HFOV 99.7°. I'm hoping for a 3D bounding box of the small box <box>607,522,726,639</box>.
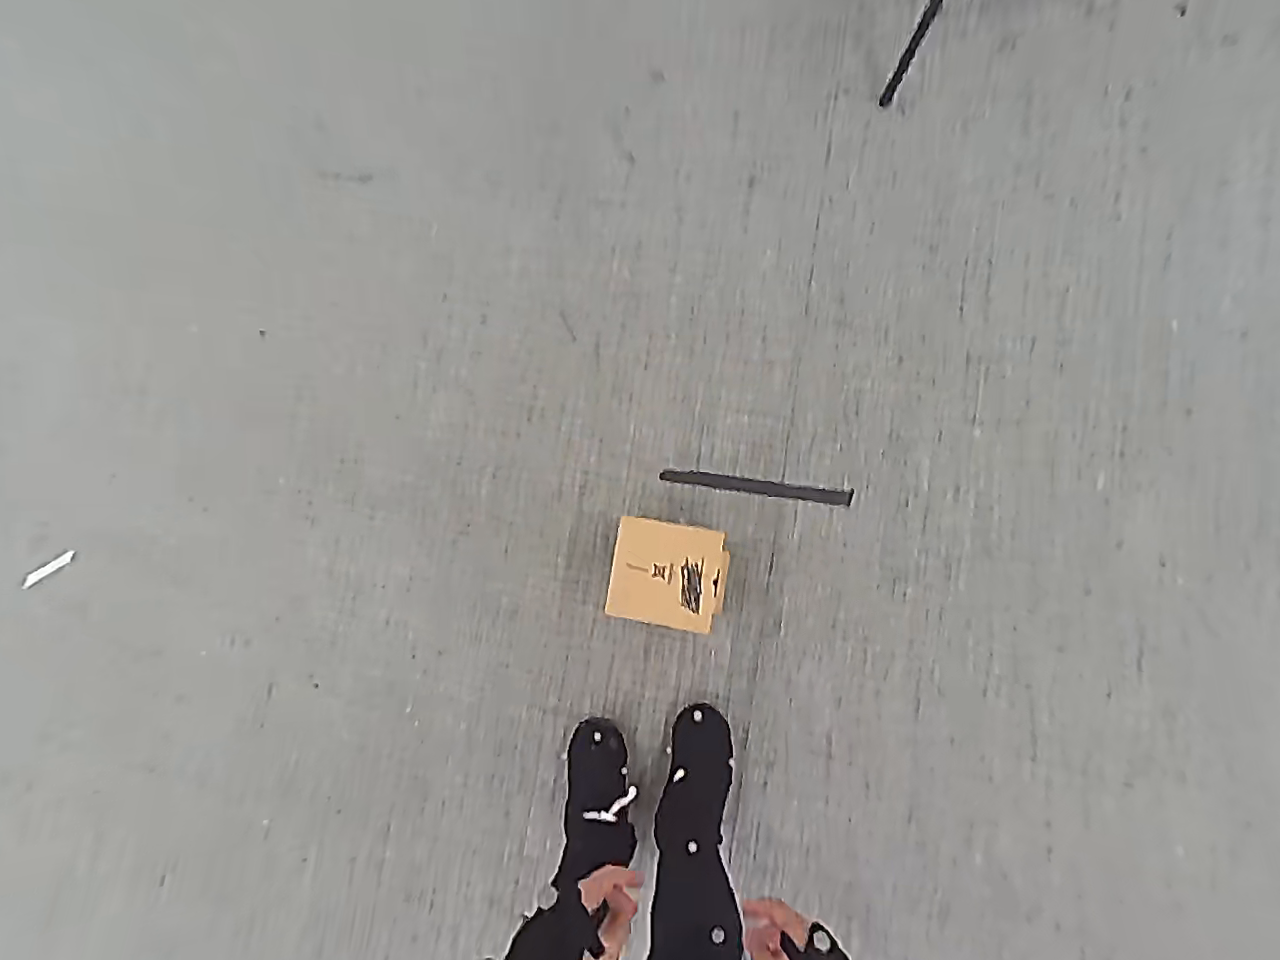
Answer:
[{"bbox_3d":[0.053,0.172,0.963,0.179,0.176,0.168,9,84,9],"label":"small box"}]
